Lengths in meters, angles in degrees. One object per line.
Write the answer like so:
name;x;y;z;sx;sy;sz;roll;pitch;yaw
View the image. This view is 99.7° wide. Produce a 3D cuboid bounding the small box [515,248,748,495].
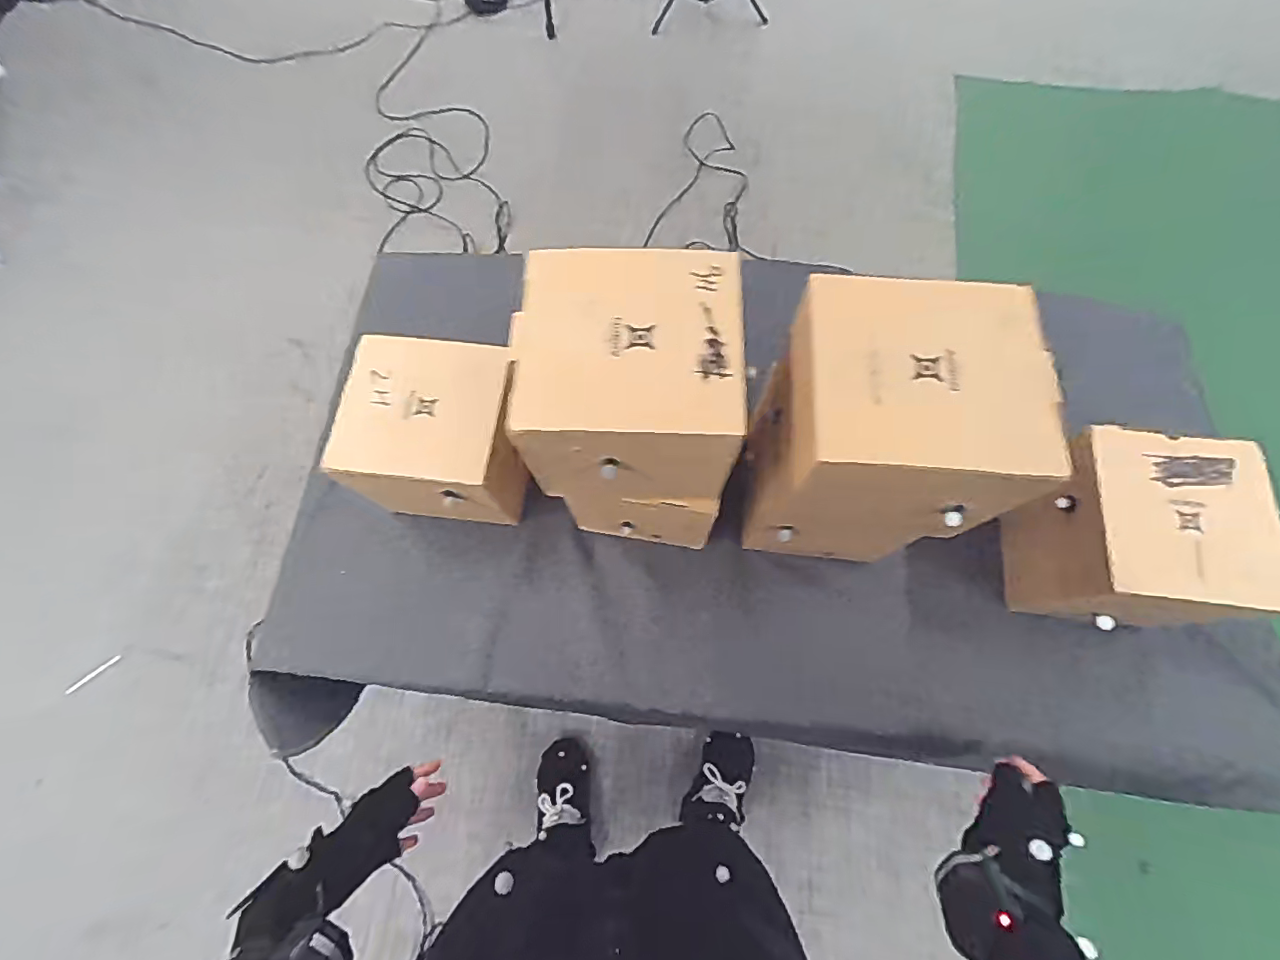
small box;0.000;-0.088;0.498;0.179;0.176;0.168;1;72;3
